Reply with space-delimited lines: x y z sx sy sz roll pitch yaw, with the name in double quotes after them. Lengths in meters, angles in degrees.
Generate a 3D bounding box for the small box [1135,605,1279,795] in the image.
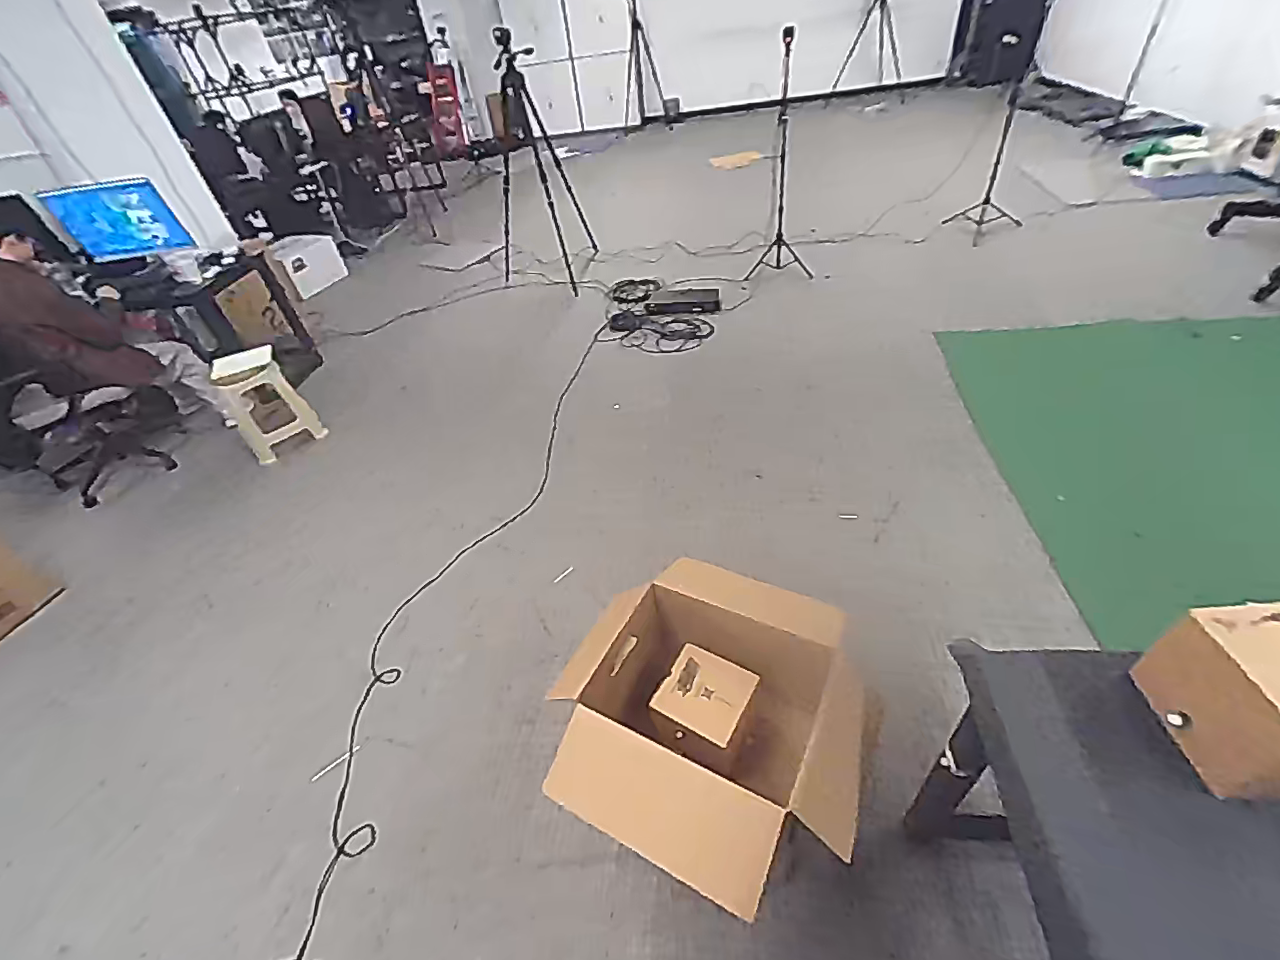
0.795 0.278 0.677 0.168 0.176 0.179 -5 43 5 "small box"
